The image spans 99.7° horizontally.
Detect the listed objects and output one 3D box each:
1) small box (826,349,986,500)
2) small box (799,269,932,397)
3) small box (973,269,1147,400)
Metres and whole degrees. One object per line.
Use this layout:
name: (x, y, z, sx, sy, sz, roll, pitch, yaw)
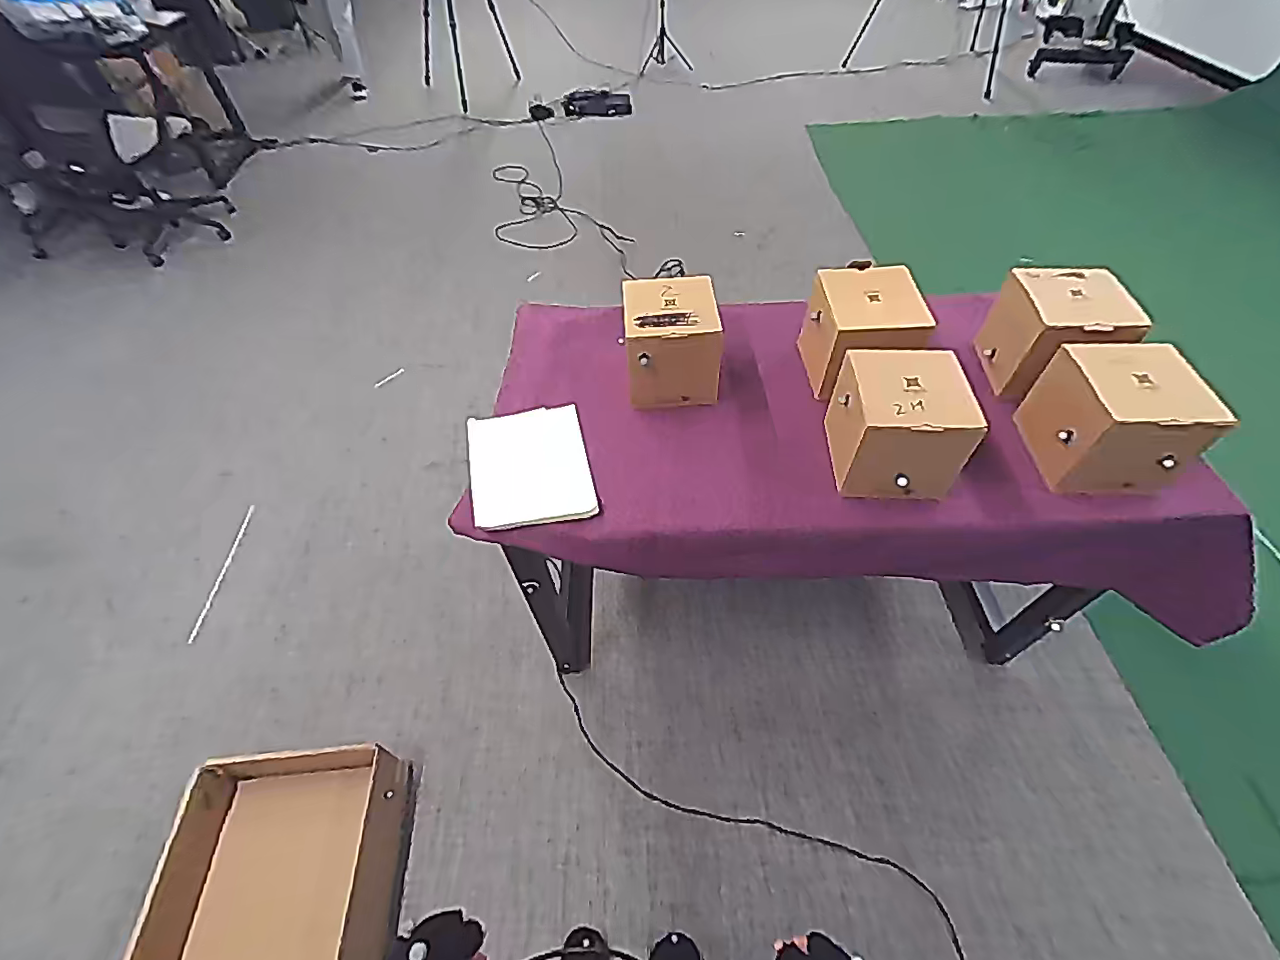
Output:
small box: (0.409, -0.090, 0.871, 0.168, 0.176, 0.179, 1, 52, 4)
small box: (0.410, -0.268, 1.014, 0.168, 0.176, 0.179, -3, 51, 1)
small box: (0.749, -0.264, 0.991, 0.168, 0.176, 0.179, 3, 53, 5)
